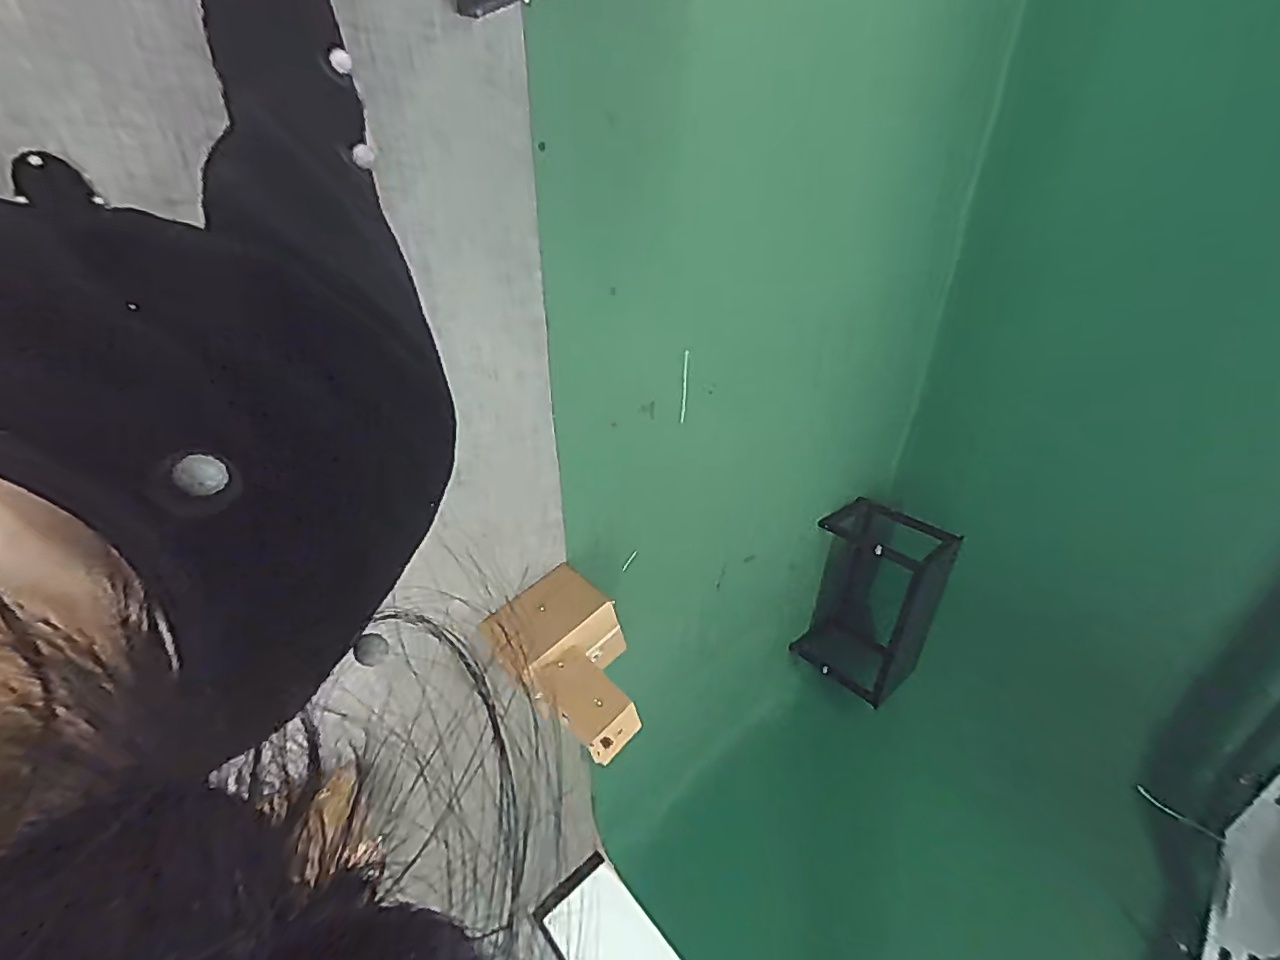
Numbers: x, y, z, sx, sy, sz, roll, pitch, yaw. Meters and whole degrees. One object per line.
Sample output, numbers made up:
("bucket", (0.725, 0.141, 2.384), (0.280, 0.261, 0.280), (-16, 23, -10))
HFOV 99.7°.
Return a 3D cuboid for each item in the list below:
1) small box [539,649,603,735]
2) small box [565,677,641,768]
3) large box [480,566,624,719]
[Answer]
("small box", (-0.235, 0.733, 1.883), (0.179, 0.176, 0.168), (-32, 131, -30))
("small box", (-0.126, 0.790, 1.775), (0.179, 0.176, 0.168), (-36, 133, -28))
("large box", (-0.334, 0.616, 2.094), (0.408, 0.320, 0.320), (-37, 134, -28))
